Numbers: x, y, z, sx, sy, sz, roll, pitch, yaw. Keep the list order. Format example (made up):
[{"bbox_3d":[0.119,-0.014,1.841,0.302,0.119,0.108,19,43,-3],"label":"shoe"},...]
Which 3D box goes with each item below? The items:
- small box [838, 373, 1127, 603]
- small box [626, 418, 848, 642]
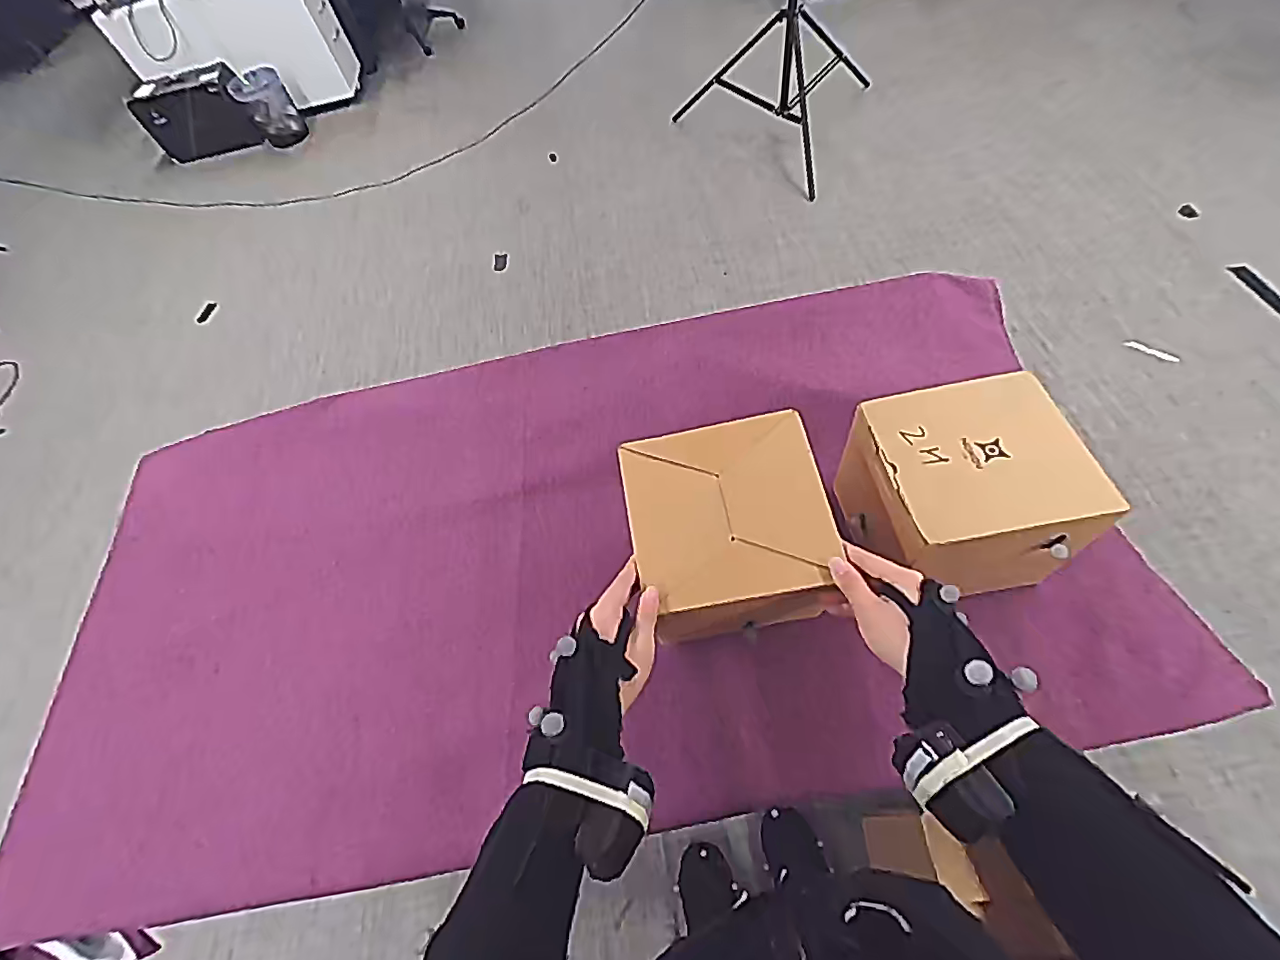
[{"bbox_3d":[0.332,0.016,0.572,0.179,0.176,0.168,-10,56,3],"label":"small box"},{"bbox_3d":[0.089,0.056,0.554,0.179,0.176,0.168,-12,64,3],"label":"small box"}]
